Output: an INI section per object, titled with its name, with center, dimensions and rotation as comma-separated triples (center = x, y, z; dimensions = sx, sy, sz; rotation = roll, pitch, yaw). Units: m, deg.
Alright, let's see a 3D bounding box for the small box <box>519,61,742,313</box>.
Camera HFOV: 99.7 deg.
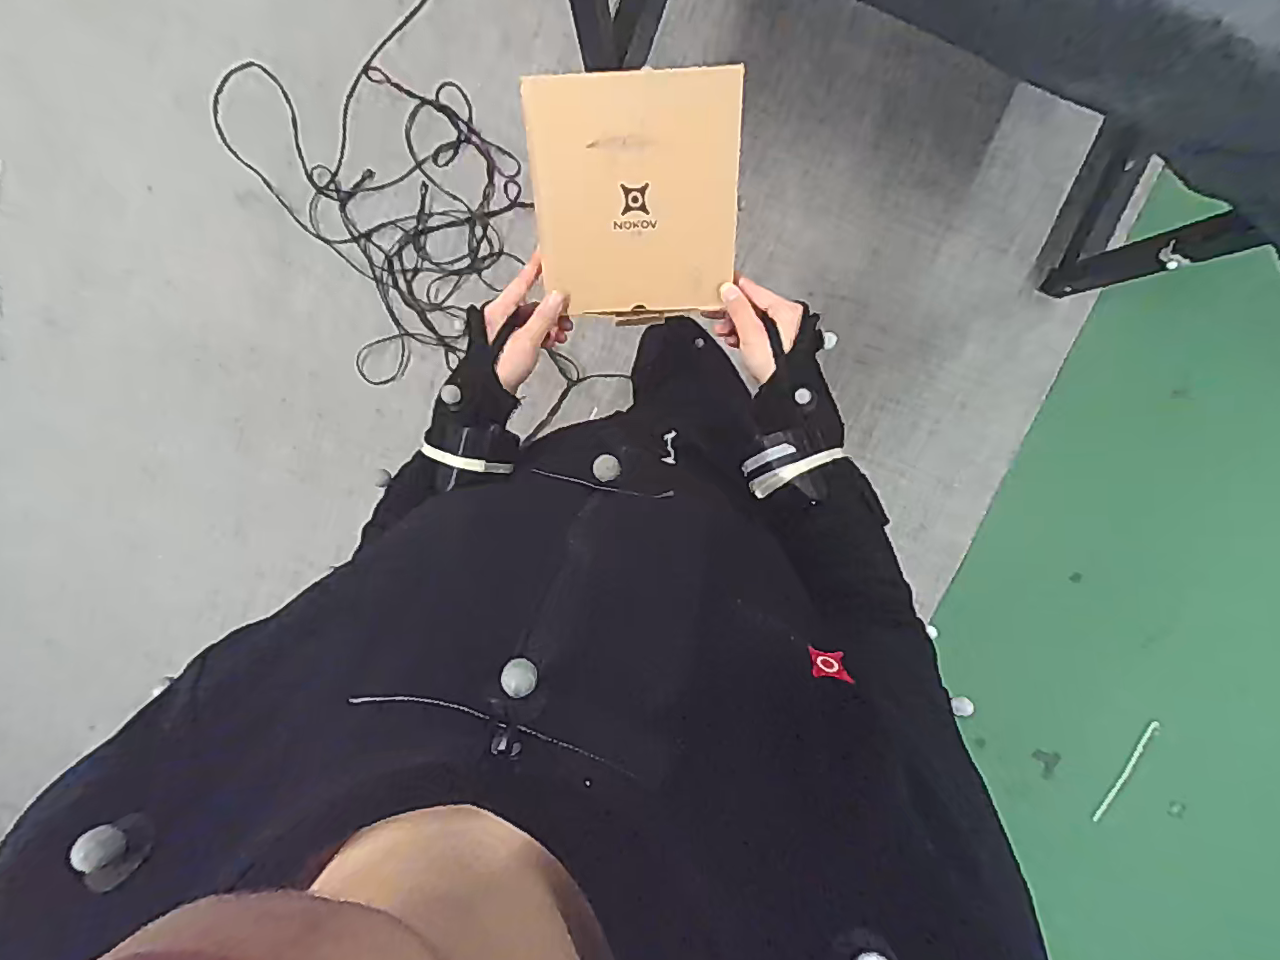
[small box]
center = -0.004, -0.264, 0.501
dimensions = 0.168, 0.176, 0.179
rotation = -2, 119, 1
